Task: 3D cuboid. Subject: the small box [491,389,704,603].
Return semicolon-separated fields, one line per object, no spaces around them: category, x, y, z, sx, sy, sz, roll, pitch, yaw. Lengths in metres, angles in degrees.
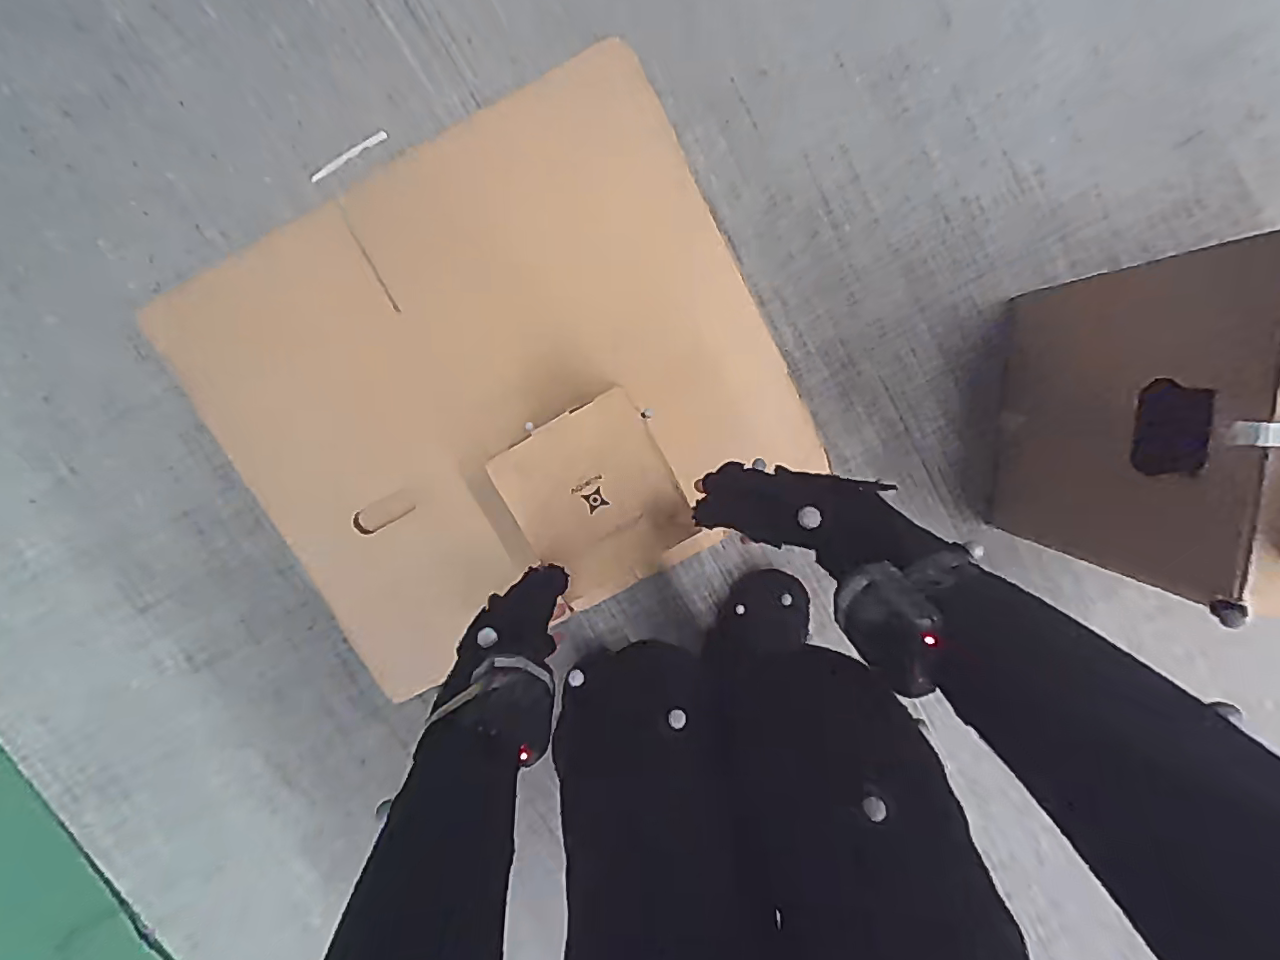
small box;-0.044;0.009;0.641;0.168;0.176;0.179;-30;98;5
